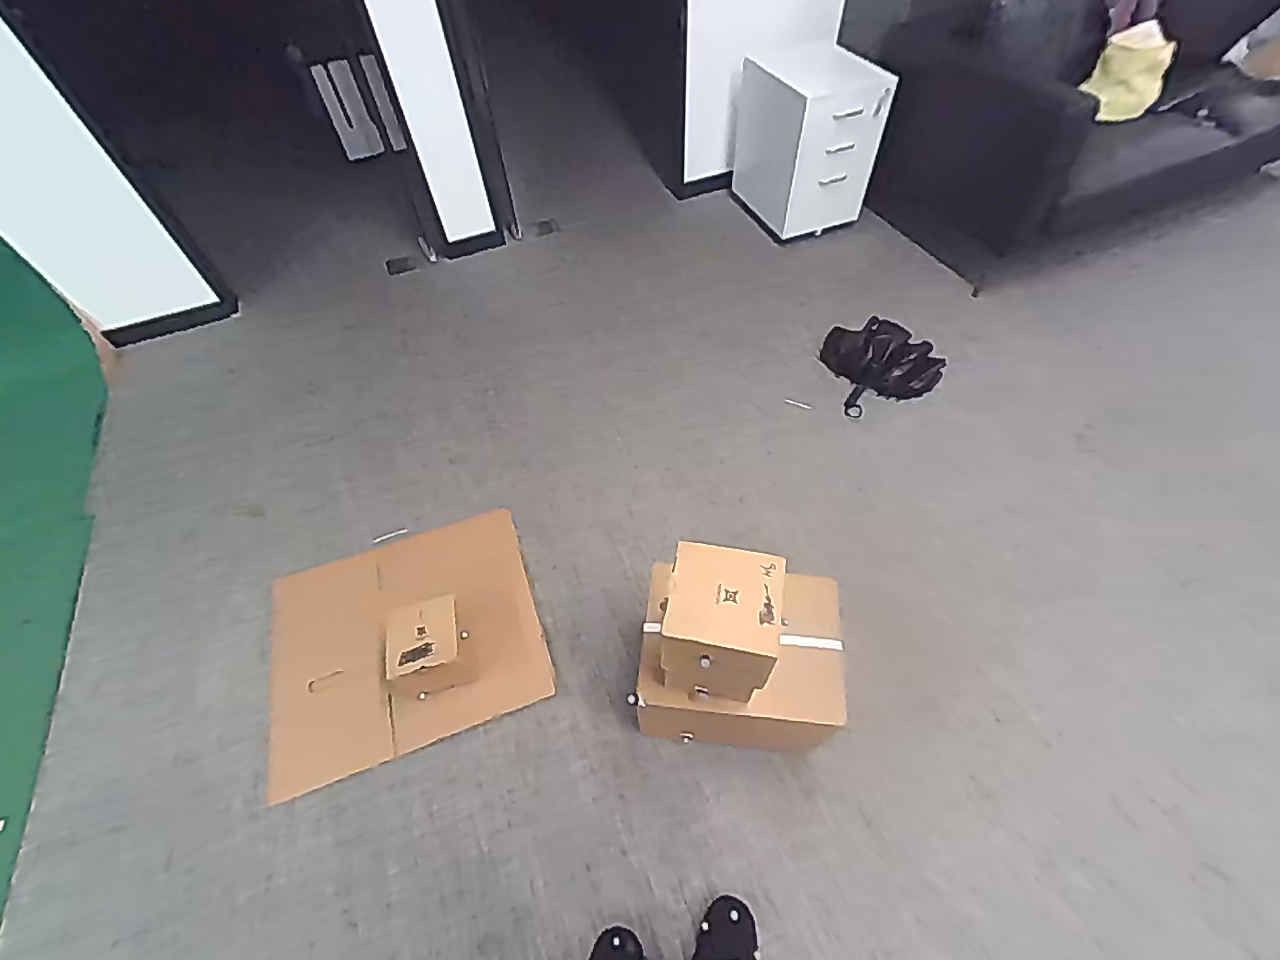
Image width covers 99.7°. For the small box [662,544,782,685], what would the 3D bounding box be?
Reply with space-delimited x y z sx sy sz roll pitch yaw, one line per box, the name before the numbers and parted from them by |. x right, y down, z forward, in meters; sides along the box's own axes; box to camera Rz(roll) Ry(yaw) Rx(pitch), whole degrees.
small box | 0.135 0.226 0.898 0.179 0.176 0.168 6 53 8

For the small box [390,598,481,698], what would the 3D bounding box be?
small box | -0.505 0.426 1.349 0.168 0.176 0.179 -15 52 -7

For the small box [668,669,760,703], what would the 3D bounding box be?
small box | 0.144 0.308 1.037 0.168 0.176 0.179 5 56 8
